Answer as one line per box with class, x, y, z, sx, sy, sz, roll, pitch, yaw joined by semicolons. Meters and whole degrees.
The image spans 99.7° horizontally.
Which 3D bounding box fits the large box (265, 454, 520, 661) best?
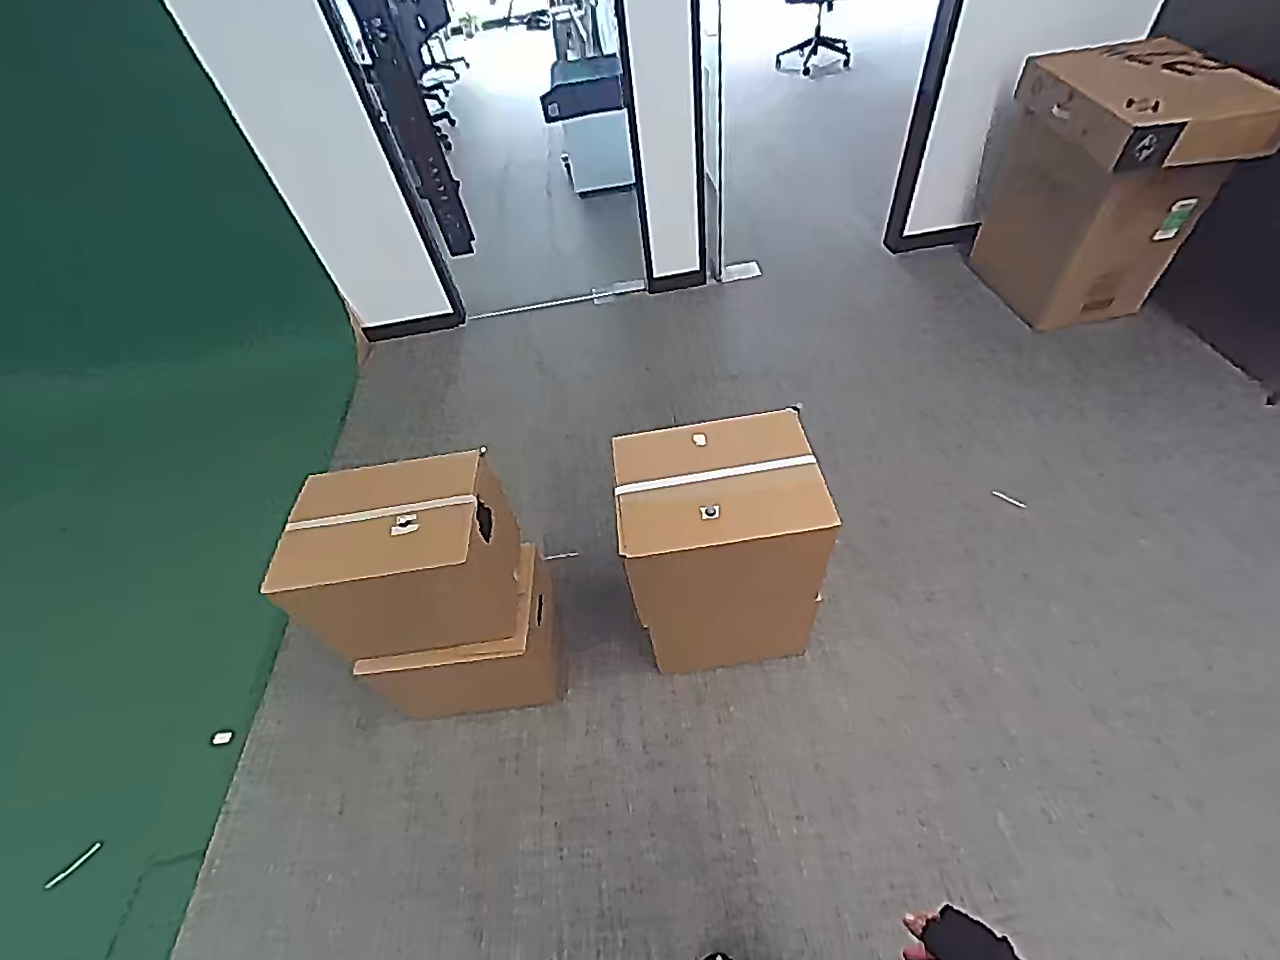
large box;-0.519;0.180;1.234;0.408;0.320;0.320;-8;46;1
